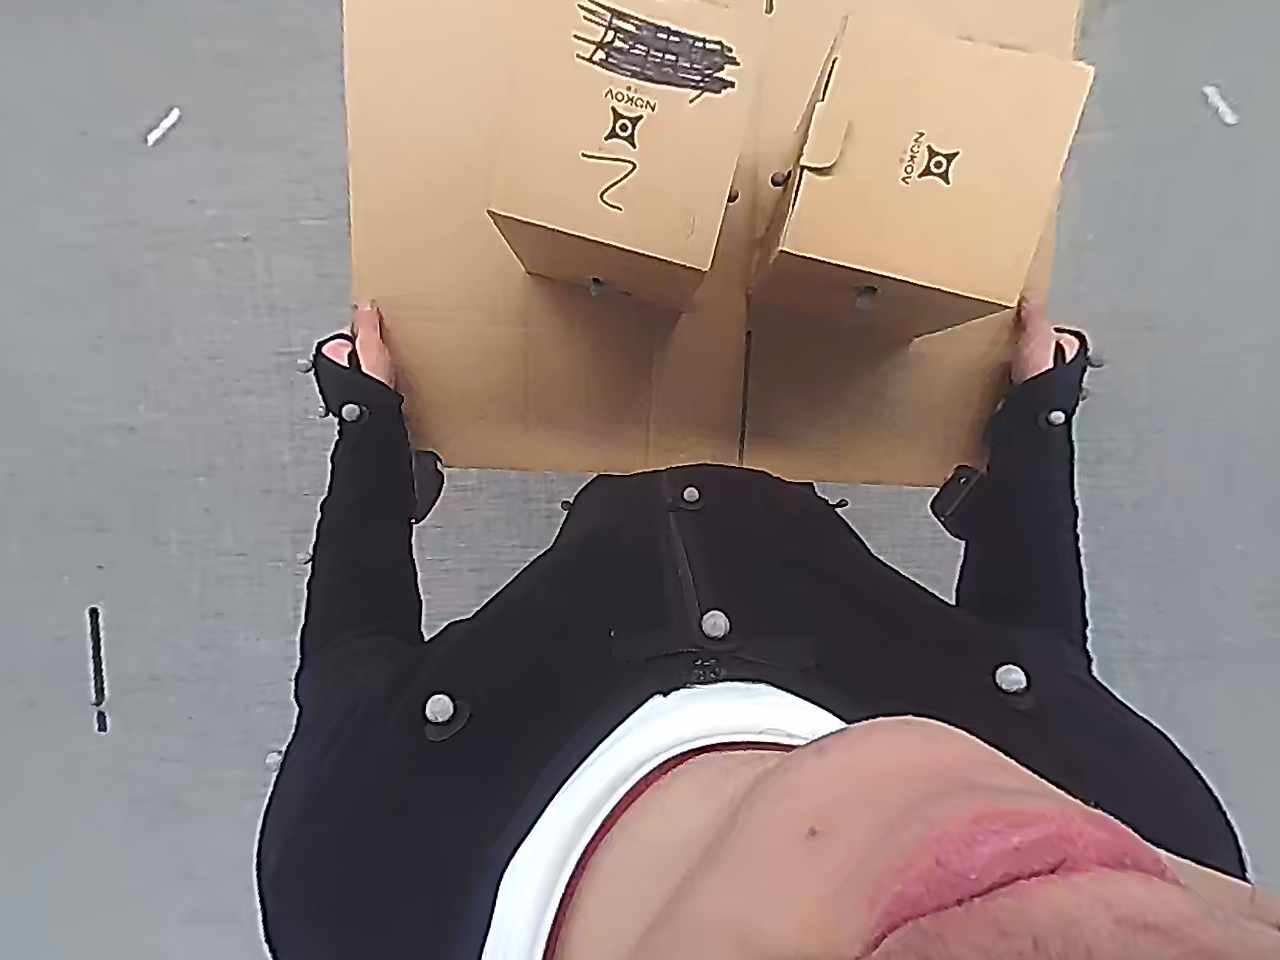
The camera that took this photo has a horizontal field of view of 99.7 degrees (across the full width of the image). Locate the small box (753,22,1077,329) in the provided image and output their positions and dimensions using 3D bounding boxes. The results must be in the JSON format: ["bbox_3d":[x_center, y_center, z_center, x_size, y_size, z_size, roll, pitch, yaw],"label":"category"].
[{"bbox_3d":[0.212,-0.239,0.474,0.179,0.176,0.168,14,97,3],"label":"small box"}]
